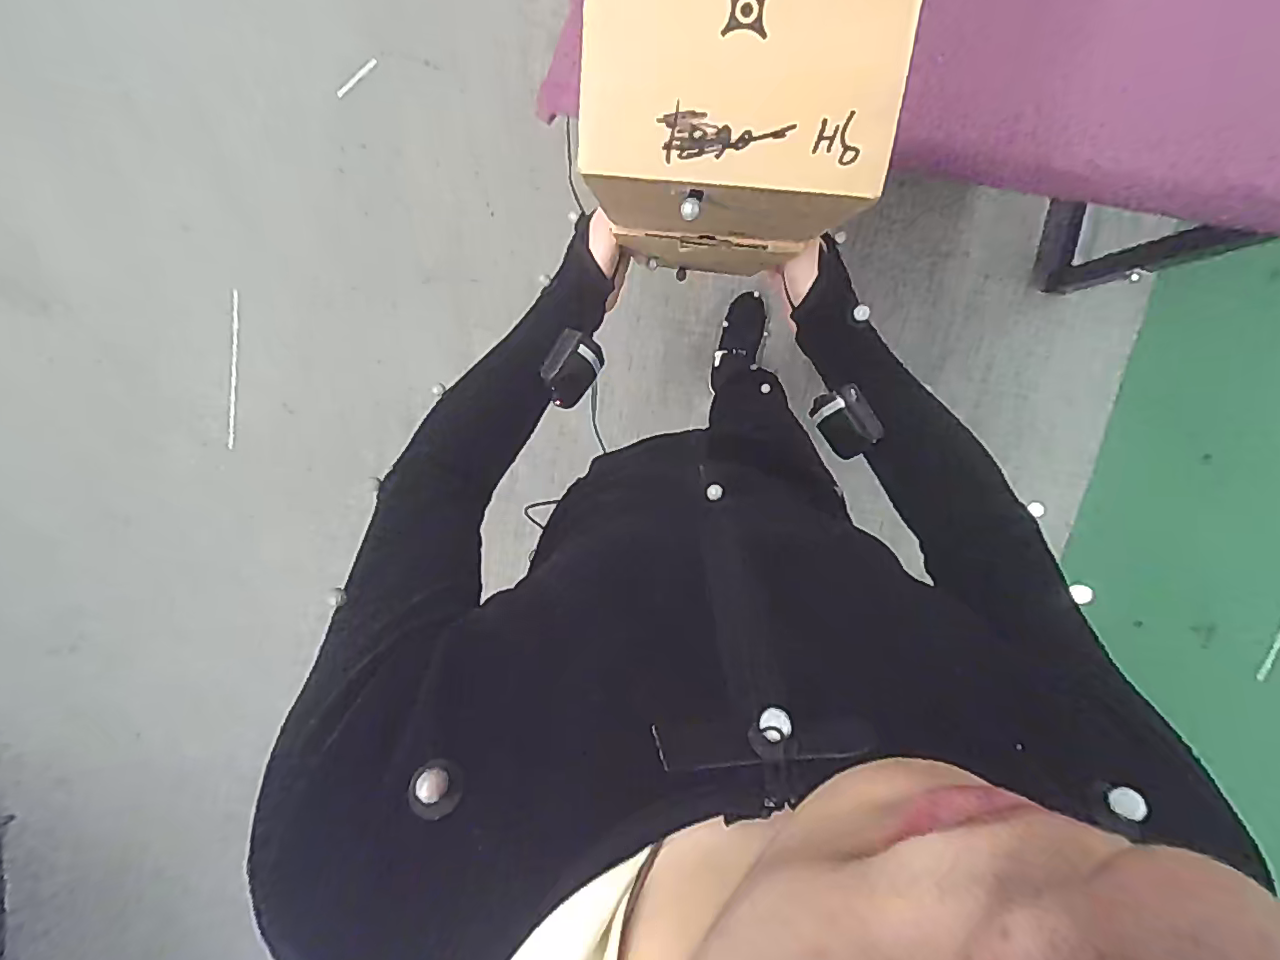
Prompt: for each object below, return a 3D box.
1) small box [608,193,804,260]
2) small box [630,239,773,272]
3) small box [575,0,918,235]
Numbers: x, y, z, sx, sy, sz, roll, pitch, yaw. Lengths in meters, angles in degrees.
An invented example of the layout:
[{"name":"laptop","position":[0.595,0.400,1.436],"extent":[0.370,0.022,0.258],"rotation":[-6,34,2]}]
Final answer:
[{"name":"small box","position":[0.069,-0.308,0.498],"extent":[0.168,0.176,0.179],"rotation":[7,106,2]},{"name":"small box","position":[0.082,-0.358,0.654],"extent":[0.168,0.176,0.179],"rotation":[7,107,3]},{"name":"small box","position":[0.059,-0.269,0.340],"extent":[0.168,0.176,0.179],"rotation":[6,106,3]}]
